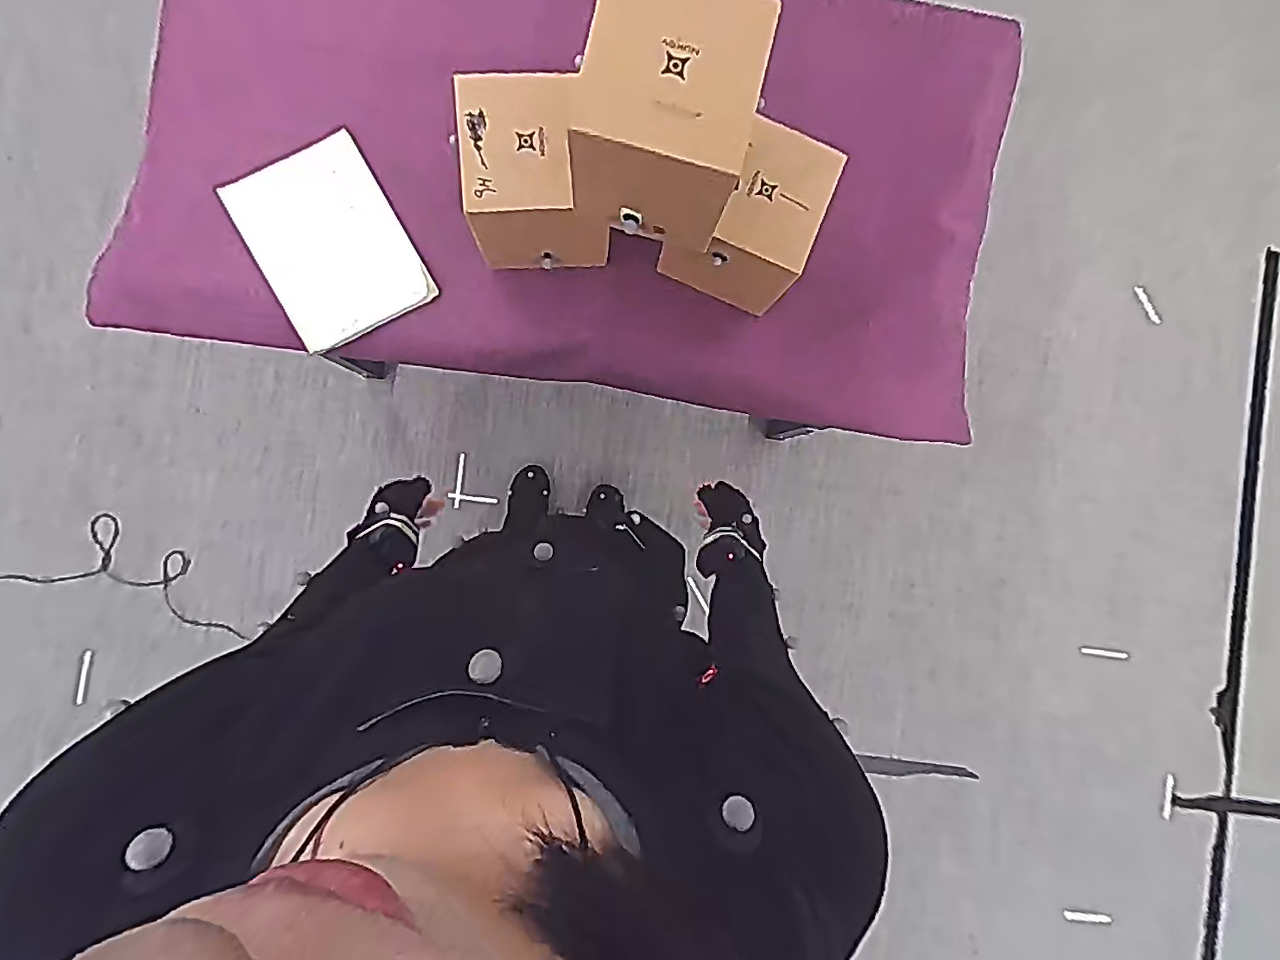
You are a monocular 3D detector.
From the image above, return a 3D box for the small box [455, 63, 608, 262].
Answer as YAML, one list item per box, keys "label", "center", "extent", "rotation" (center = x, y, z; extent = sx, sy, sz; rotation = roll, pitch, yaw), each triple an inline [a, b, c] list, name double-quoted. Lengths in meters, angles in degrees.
- label: "small box"
  center: [-0.132, -0.402, 0.712]
  extent: [0.179, 0.176, 0.168]
  rotation: [-4, 89, -6]

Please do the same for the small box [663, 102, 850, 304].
- label: "small box"
  center: [0.142, -0.364, 0.733]
  extent: [0.179, 0.176, 0.168]
  rotation: [23, 87, -4]

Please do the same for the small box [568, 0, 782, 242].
- label: "small box"
  center: [0.028, -0.384, 0.562]
  extent: [0.168, 0.176, 0.179]
  rotation: [13, 88, -3]
